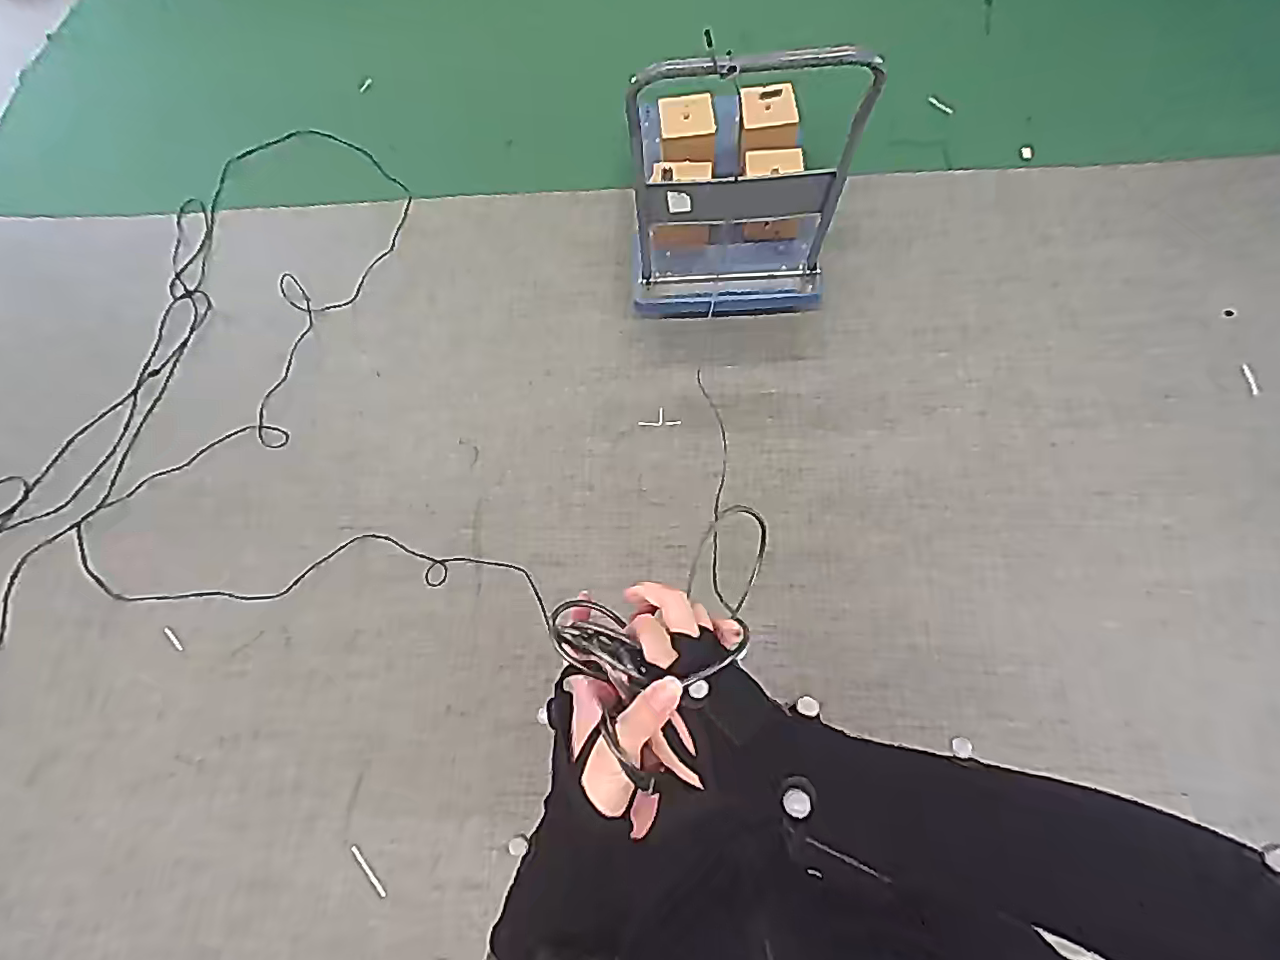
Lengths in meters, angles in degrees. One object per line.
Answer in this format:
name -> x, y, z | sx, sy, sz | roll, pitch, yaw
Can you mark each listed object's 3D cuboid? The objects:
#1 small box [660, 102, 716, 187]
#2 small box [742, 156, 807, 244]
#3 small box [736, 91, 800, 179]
small box -> 0.156, -1.080, 1.758 | 0.168, 0.176, 0.179 | -5, 69, 3
small box -> 0.405, -0.851, 1.648 | 0.168, 0.176, 0.179 | -1, 70, 5
small box -> 0.406, -1.104, 1.742 | 0.168, 0.176, 0.179 | -5, 70, 4
